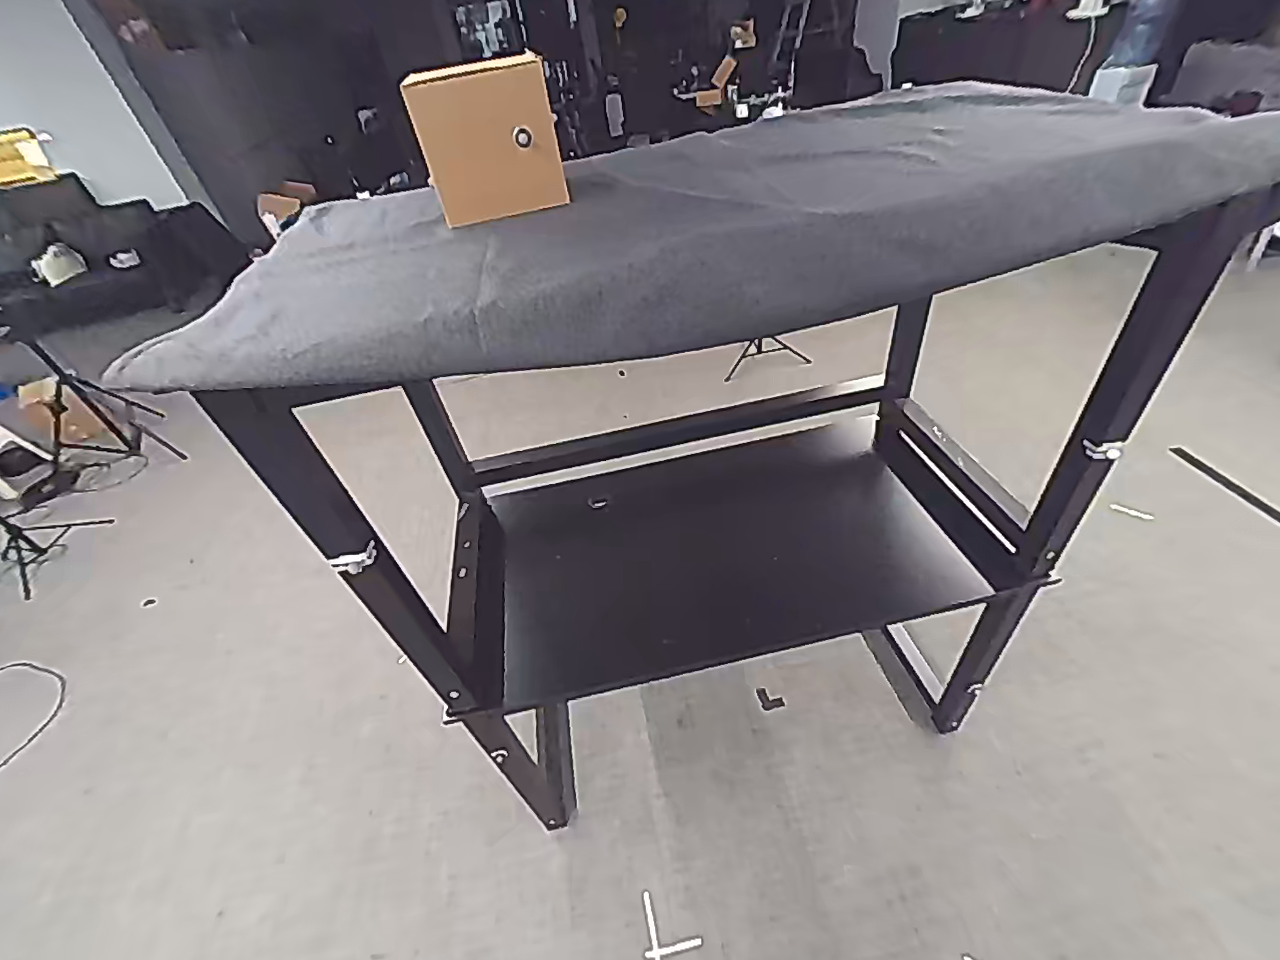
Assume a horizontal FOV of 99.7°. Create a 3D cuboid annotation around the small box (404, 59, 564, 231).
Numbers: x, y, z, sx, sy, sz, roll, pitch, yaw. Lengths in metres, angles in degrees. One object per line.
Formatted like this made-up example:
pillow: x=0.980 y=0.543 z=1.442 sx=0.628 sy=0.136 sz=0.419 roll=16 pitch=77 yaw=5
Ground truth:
small box: x=-0.210 y=-0.476 z=0.770 sx=0.179 sy=0.176 sz=0.168 roll=-14 pitch=42 yaw=-6
